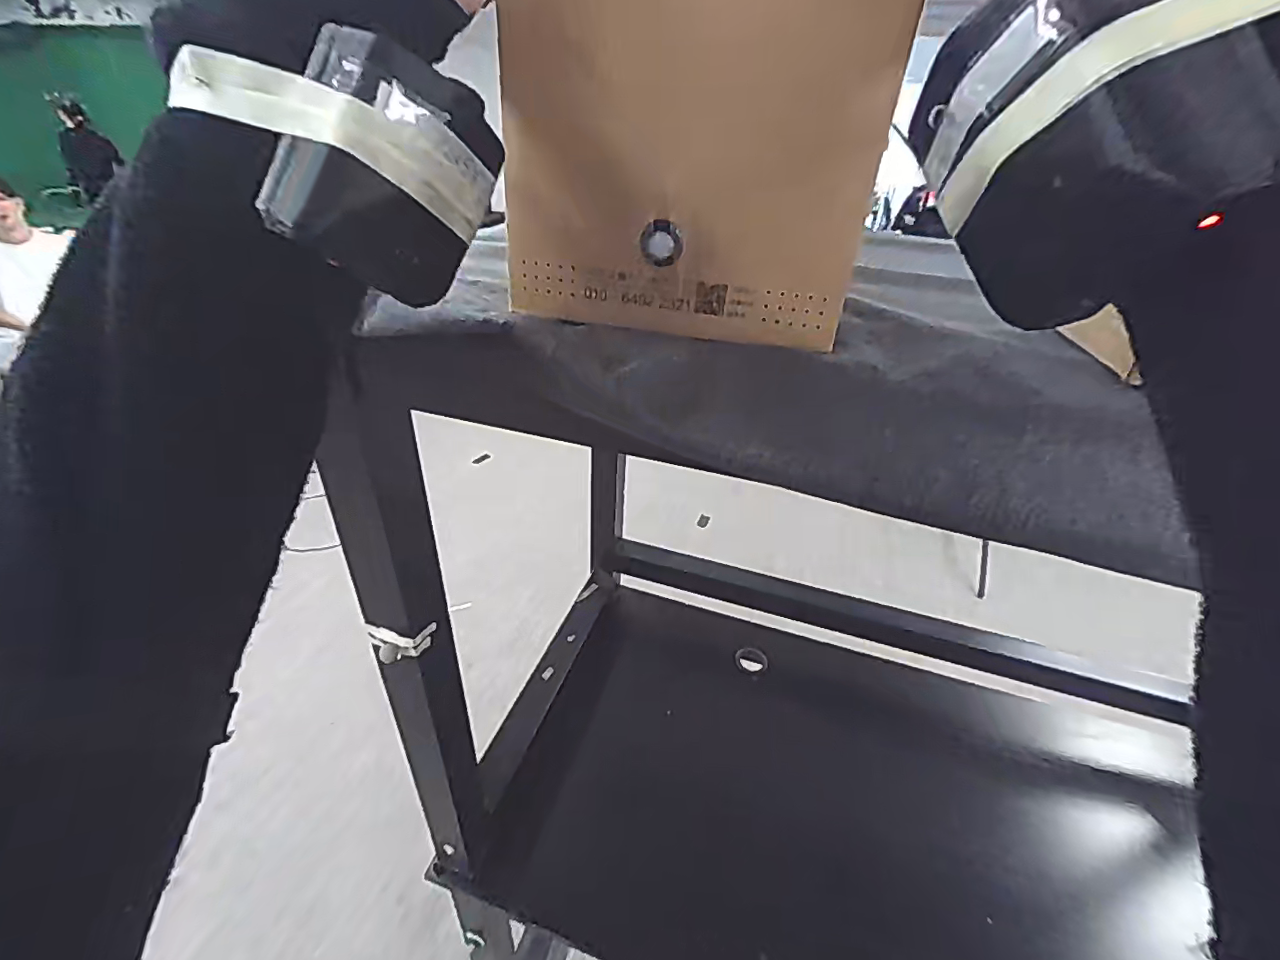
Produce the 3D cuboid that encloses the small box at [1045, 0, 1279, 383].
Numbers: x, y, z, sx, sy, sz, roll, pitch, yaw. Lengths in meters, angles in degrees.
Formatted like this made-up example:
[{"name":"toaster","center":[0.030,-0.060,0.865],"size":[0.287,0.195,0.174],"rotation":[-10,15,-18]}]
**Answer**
[{"name":"small box","center":[0.332,-0.141,0.253],"size":[0.168,0.176,0.179],"rotation":[13,31,16]}]
